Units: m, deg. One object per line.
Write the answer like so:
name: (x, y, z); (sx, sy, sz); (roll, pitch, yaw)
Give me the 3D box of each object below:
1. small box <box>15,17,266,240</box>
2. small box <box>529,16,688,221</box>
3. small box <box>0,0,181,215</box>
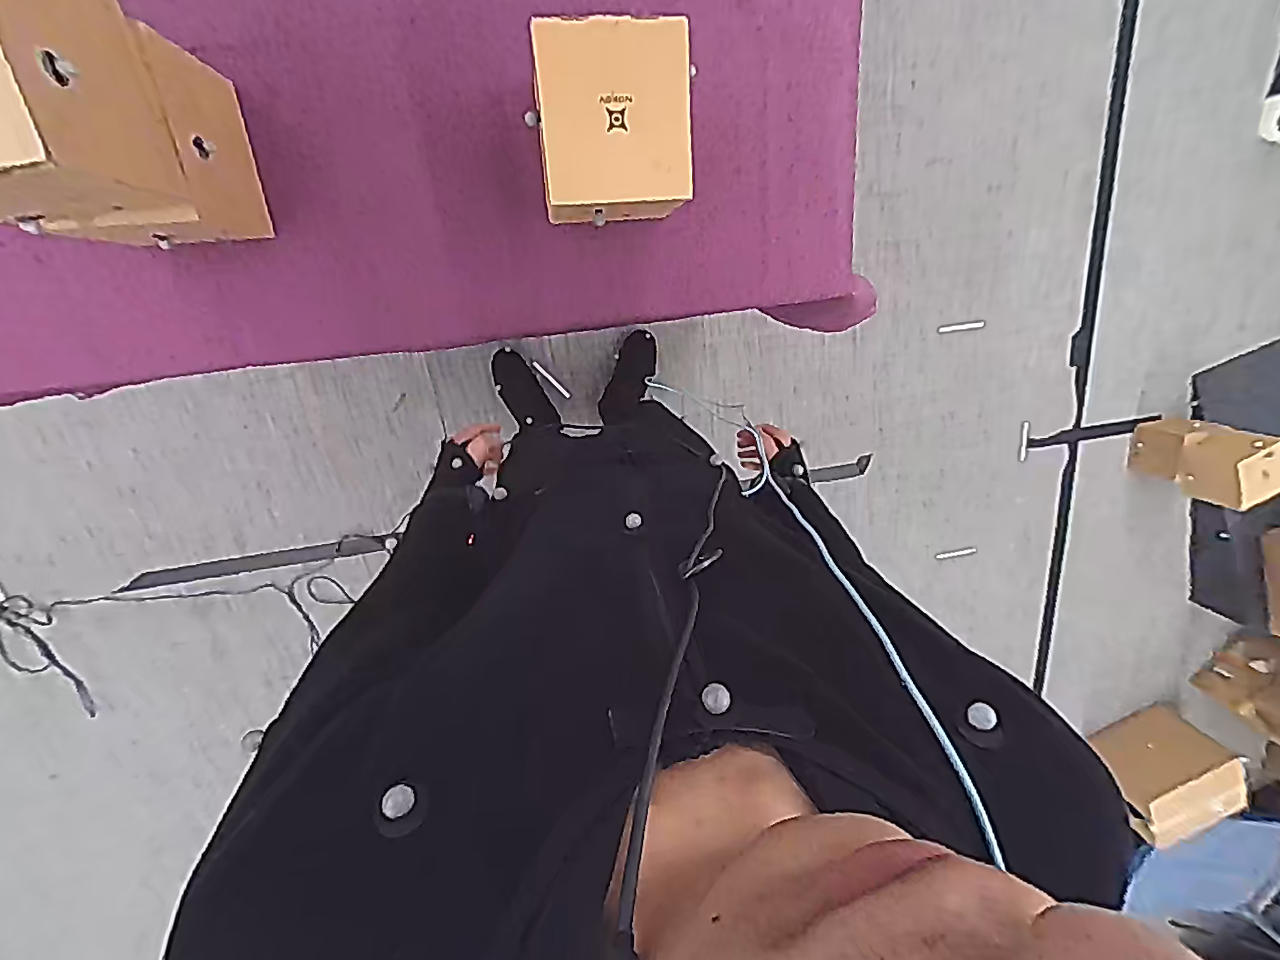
small box: (-0.552, -0.363, 0.592); (0.168, 0.176, 0.179); (-7, 109, -8)
small box: (-0.039, -0.422, 0.661); (0.168, 0.176, 0.179); (-7, 108, -7)
small box: (-0.531, -0.322, 0.434); (0.168, 0.176, 0.179); (-11, 109, -6)
